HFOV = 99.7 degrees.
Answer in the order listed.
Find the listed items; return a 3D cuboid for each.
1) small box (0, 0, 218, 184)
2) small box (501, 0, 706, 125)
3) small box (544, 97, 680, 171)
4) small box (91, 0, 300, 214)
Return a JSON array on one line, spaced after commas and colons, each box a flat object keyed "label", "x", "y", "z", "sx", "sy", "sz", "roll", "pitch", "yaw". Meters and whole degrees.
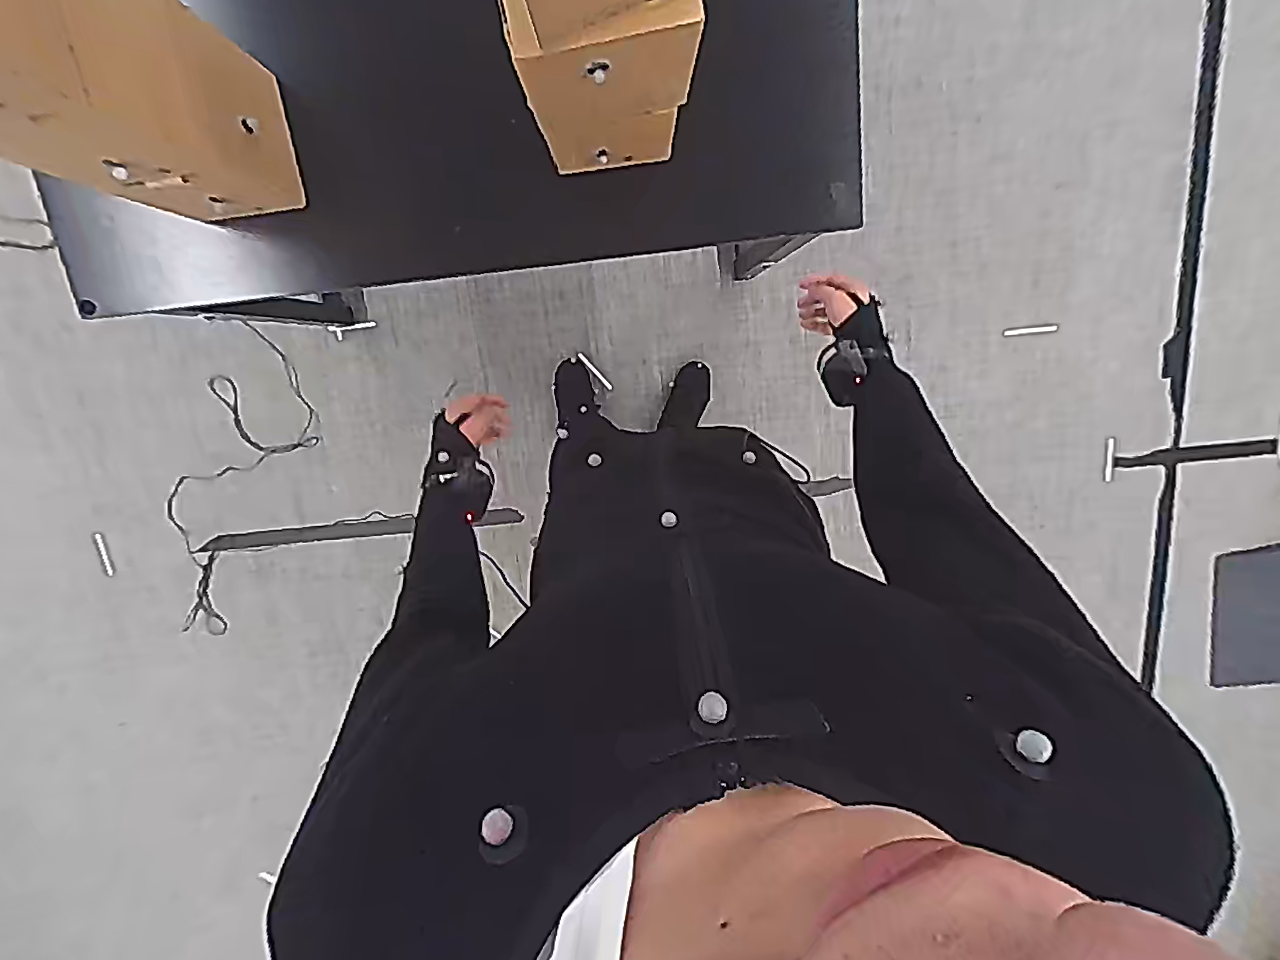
[{"label": "small box", "x": -0.575, "y": -0.421, "z": 0.534, "sx": 0.168, "sy": 0.176, "sz": 0.179, "roll": -7, "pitch": 103, "yaw": 1}, {"label": "small box", "x": -0.042, "y": -0.481, "z": 0.531, "sx": 0.179, "sy": 0.176, "sz": 0.168, "roll": -11, "pitch": 103, "yaw": 1}, {"label": "small box", "x": -0.046, "y": -0.525, "z": 0.690, "sx": 0.168, "sy": 0.176, "sz": 0.179, "roll": -8, "pitch": 103, "yaw": 1}, {"label": "small box", "x": -0.578, "y": -0.456, "z": 0.695, "sx": 0.168, "sy": 0.176, "sz": 0.179, "roll": -8, "pitch": 104, "yaw": 1}]
